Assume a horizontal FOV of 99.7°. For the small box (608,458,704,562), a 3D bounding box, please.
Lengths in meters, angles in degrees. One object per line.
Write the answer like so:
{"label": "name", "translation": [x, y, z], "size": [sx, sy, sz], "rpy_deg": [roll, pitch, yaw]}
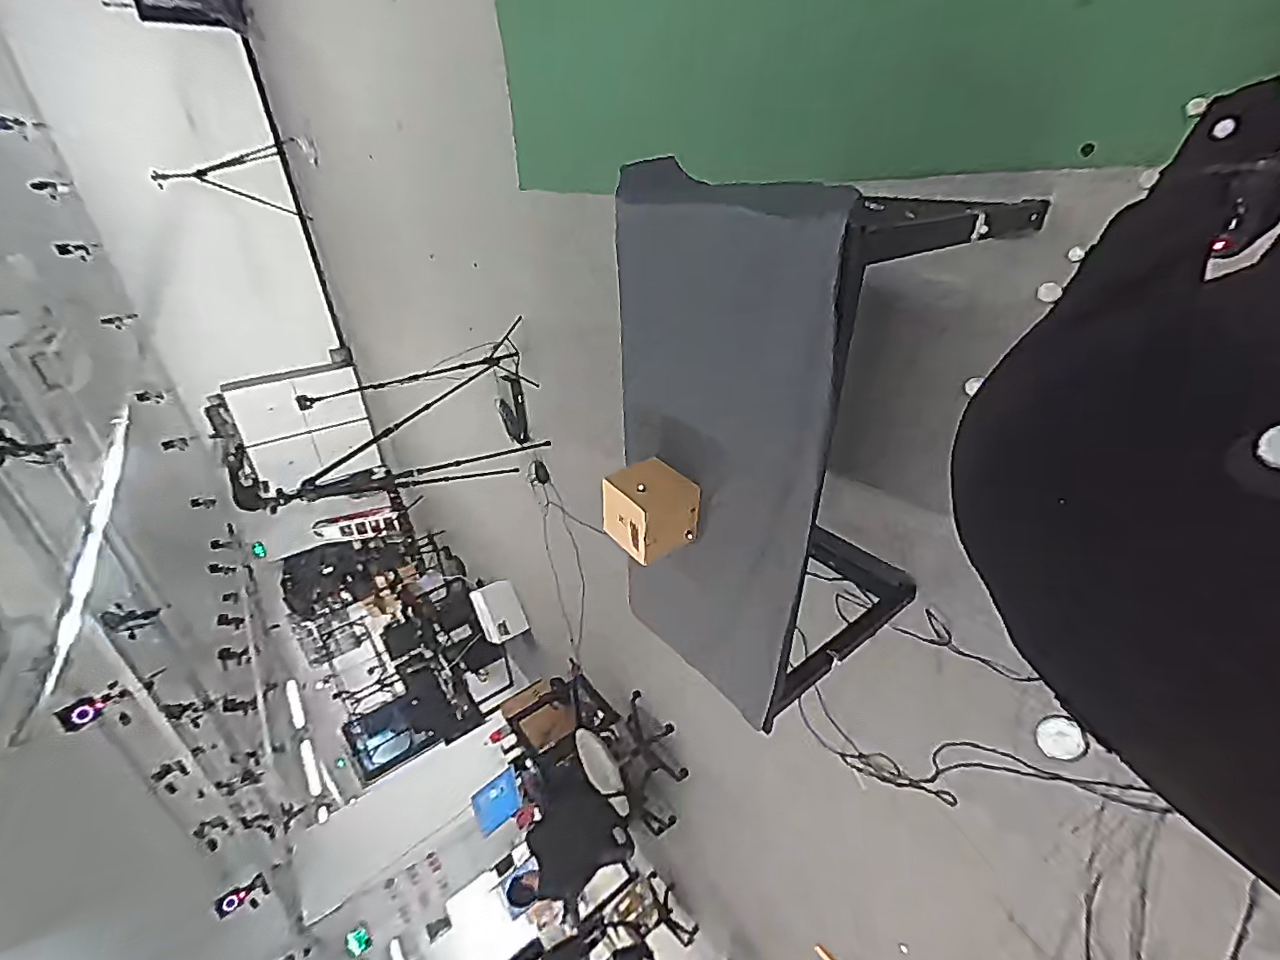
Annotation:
{"label": "small box", "translation": [0.040, 0.066, 1.340], "size": [0.179, 0.176, 0.168], "rpy_deg": [36, 137, 41]}
